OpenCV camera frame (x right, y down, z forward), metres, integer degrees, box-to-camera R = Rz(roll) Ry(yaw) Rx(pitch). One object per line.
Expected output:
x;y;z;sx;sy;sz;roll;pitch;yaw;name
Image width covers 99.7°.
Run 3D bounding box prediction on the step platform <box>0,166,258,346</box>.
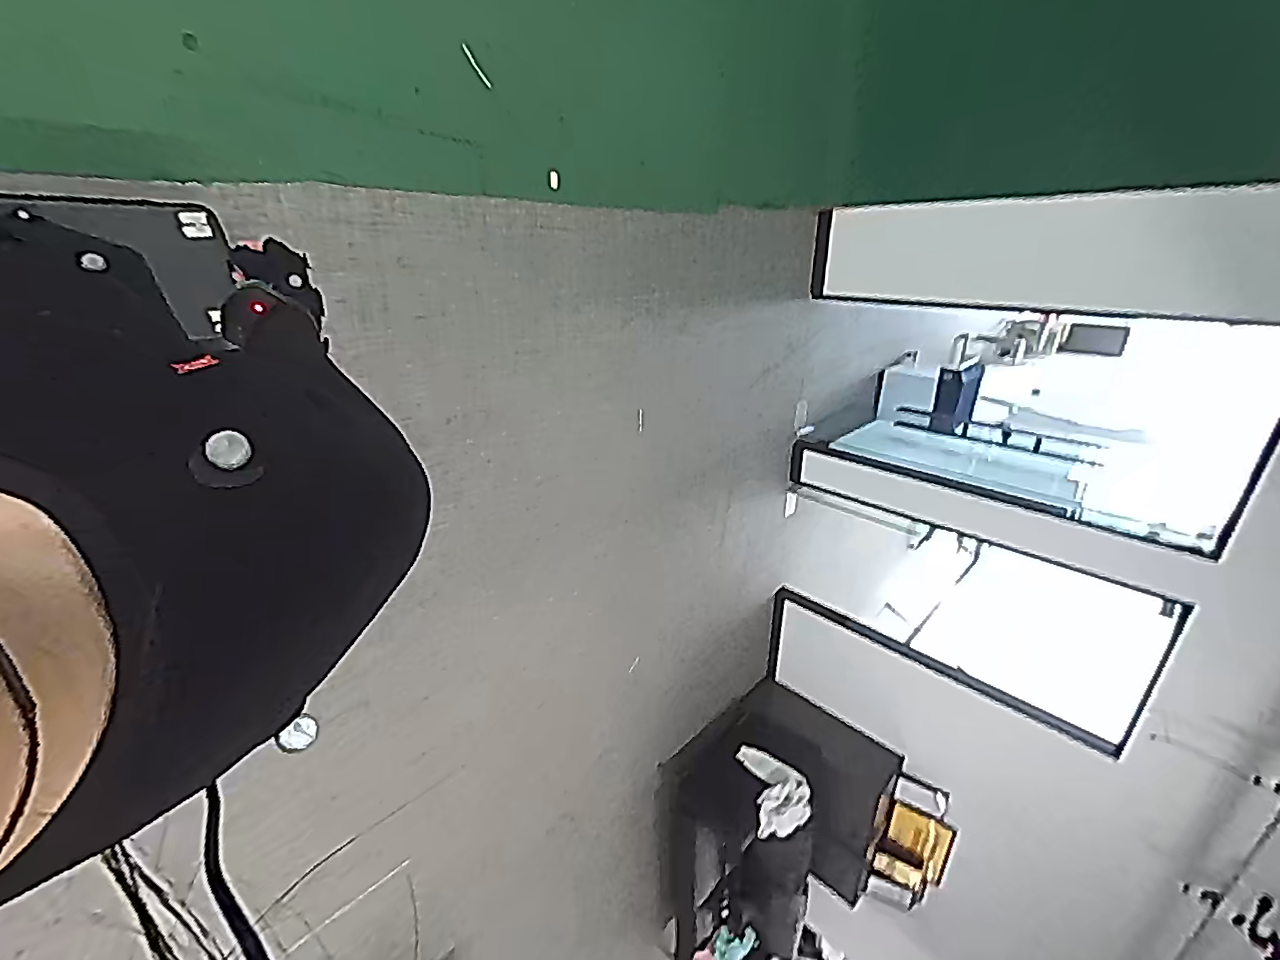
-1.049;-0.352;0.867;0.684;0.204;0.286;-22;122;-40;step platform
